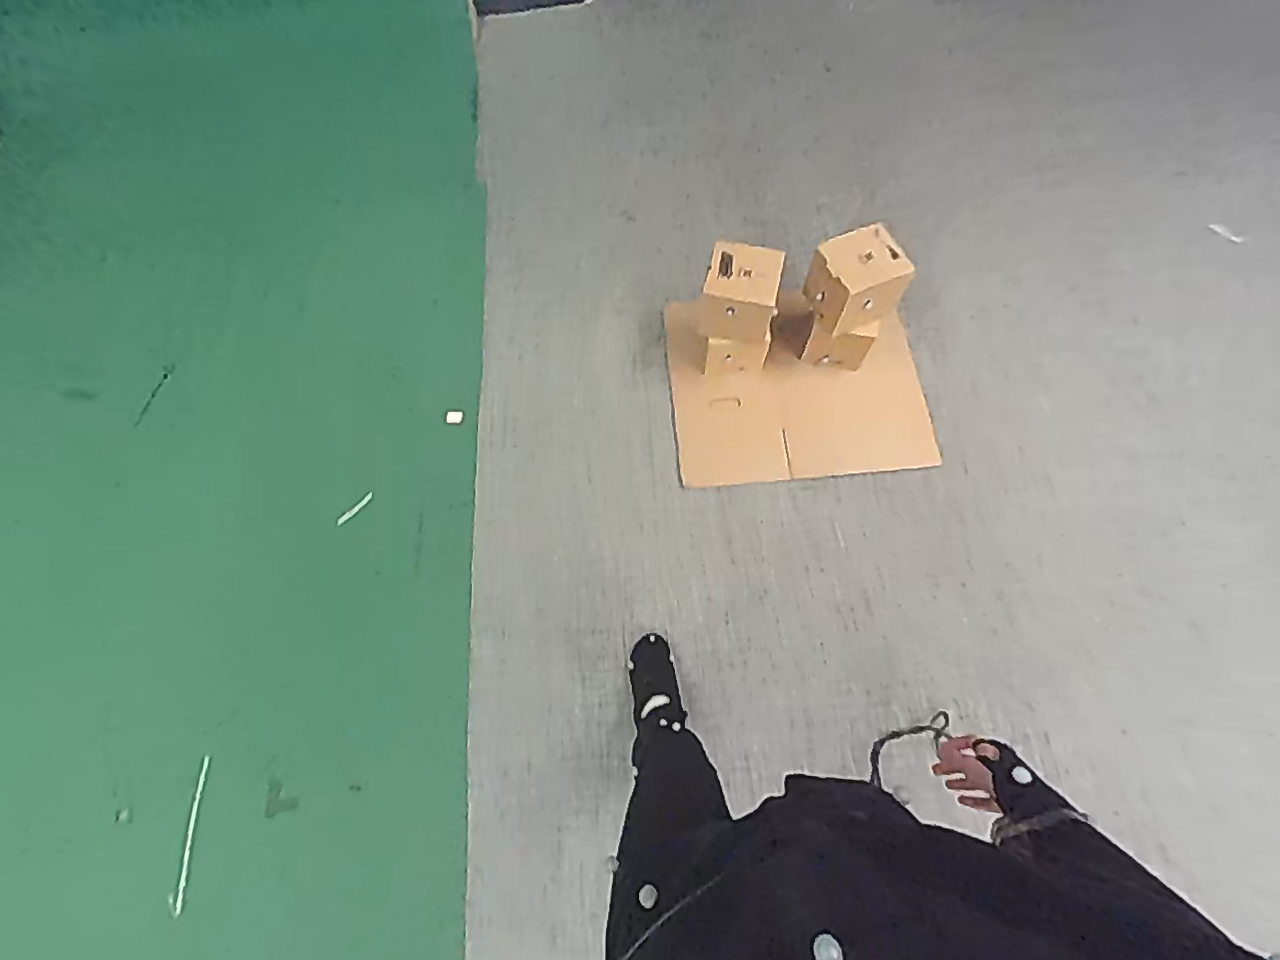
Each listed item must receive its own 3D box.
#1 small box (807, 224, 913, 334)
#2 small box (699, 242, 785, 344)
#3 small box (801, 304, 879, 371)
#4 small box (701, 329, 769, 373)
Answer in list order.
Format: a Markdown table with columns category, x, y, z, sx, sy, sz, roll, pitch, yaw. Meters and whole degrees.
| category | x | y | z | sx | sy | sz | roll | pitch | yaw |
| --- | --- | --- | --- | --- | --- | --- | --- | --- | --- |
| small box | 0.539 | -0.498 | 1.361 | 0.179 | 0.176 | 0.168 | -22 | 69 | -4 |
| small box | 0.252 | -0.468 | 1.370 | 0.179 | 0.176 | 0.168 | 13 | 71 | 7 |
| small box | 0.559 | -0.435 | 1.511 | 0.168 | 0.176 | 0.179 | 13 | 71 | 8 |
| small box | 0.262 | -0.414 | 1.526 | 0.168 | 0.176 | 0.179 | -3 | 69 | 2 |
